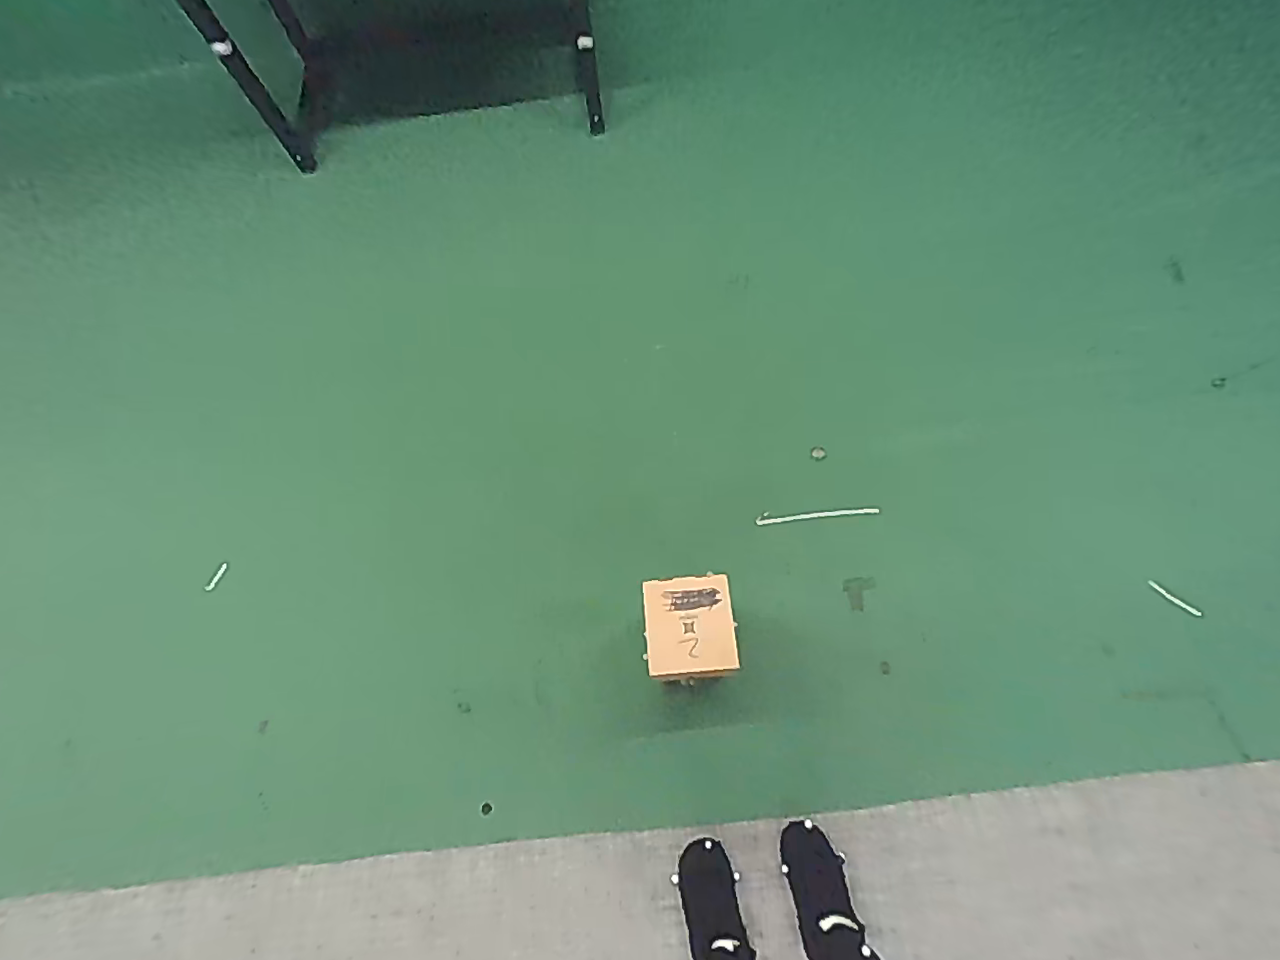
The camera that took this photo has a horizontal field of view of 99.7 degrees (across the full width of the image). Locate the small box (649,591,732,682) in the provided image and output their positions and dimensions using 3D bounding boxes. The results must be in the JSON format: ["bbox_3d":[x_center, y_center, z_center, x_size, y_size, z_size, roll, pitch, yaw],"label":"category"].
[{"bbox_3d":[0.114,0.360,1.228,0.168,0.176,0.179,-6,66,3],"label":"small box"}]
